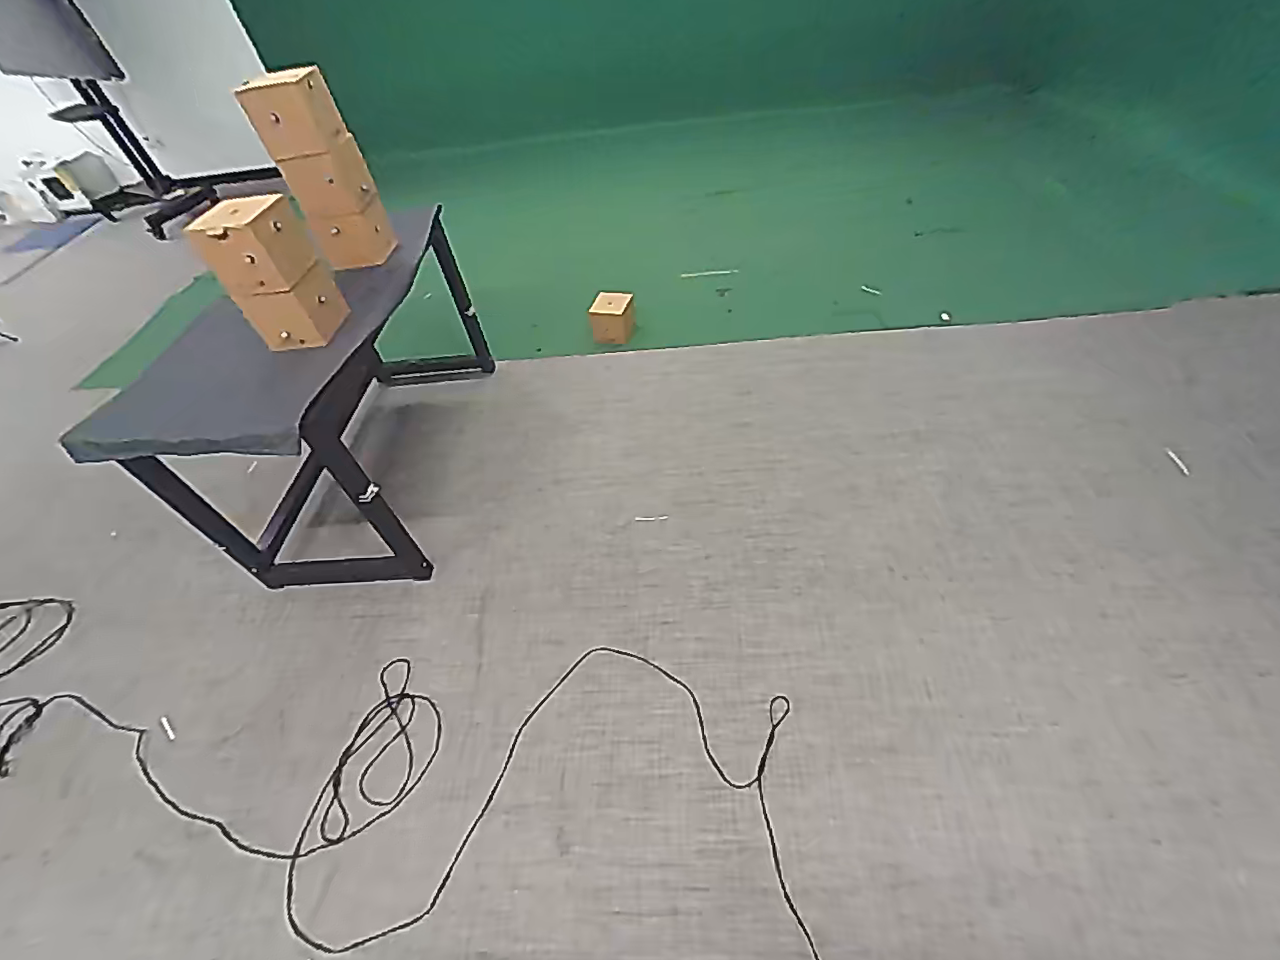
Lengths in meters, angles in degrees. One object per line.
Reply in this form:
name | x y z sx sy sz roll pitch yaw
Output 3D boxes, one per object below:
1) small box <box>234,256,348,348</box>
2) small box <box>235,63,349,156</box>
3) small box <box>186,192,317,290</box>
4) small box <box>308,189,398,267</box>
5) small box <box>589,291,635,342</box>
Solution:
small box | -0.925 -0.477 1.455 0.168 0.176 0.179 -3 49 6
small box | -0.956 -1.025 1.503 0.179 0.176 0.168 -7 49 4
small box | -0.941 -0.582 1.332 0.168 0.176 0.179 -2 48 6
small box | -0.917 -0.812 1.750 0.179 0.176 0.168 -4 49 6
small box | -0.127 -0.779 2.586 0.168 0.176 0.179 10 51 15
